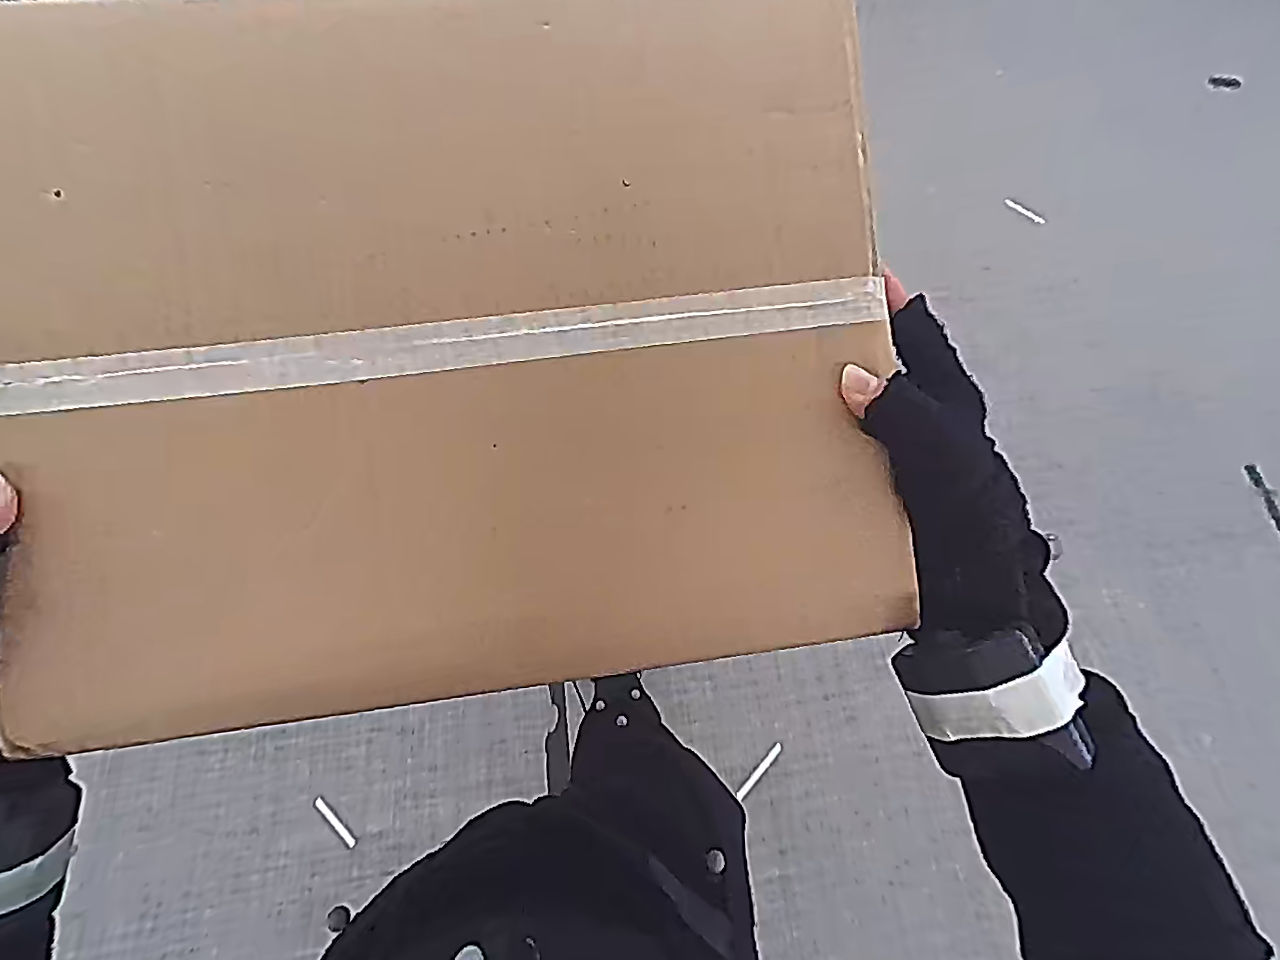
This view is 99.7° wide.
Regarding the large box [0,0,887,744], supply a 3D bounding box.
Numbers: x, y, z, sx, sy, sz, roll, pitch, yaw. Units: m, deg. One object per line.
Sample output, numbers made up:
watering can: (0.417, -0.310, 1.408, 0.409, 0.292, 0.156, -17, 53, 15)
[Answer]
large box: (-0.098, -0.061, 0.400, 0.408, 0.320, 0.320, -6, 91, -4)
